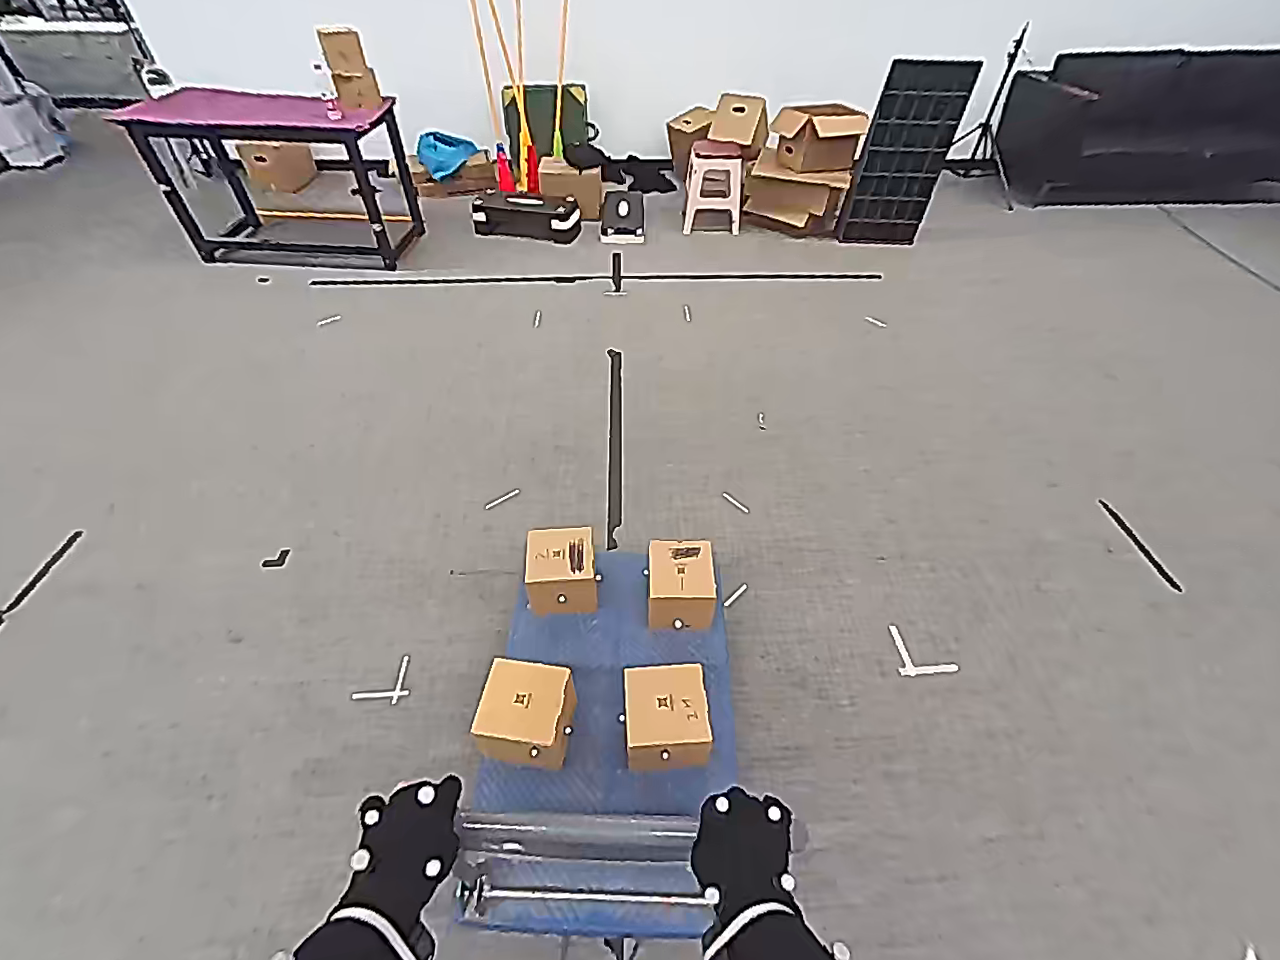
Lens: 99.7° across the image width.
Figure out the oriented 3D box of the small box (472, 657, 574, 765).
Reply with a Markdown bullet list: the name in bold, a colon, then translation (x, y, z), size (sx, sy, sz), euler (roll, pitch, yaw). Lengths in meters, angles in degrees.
- **small box**: translation (-0.252, 0.523, 1.217), size (0.179, 0.176, 0.168), euler (7, 46, 4)

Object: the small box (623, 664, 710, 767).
- **small box**: translation (0.054, 0.531, 1.212), size (0.179, 0.176, 0.168), euler (-2, 47, -3)

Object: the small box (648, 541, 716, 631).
- **small box**: translation (0.107, 0.283, 1.447), size (0.168, 0.176, 0.179), euler (1, 48, 0)
